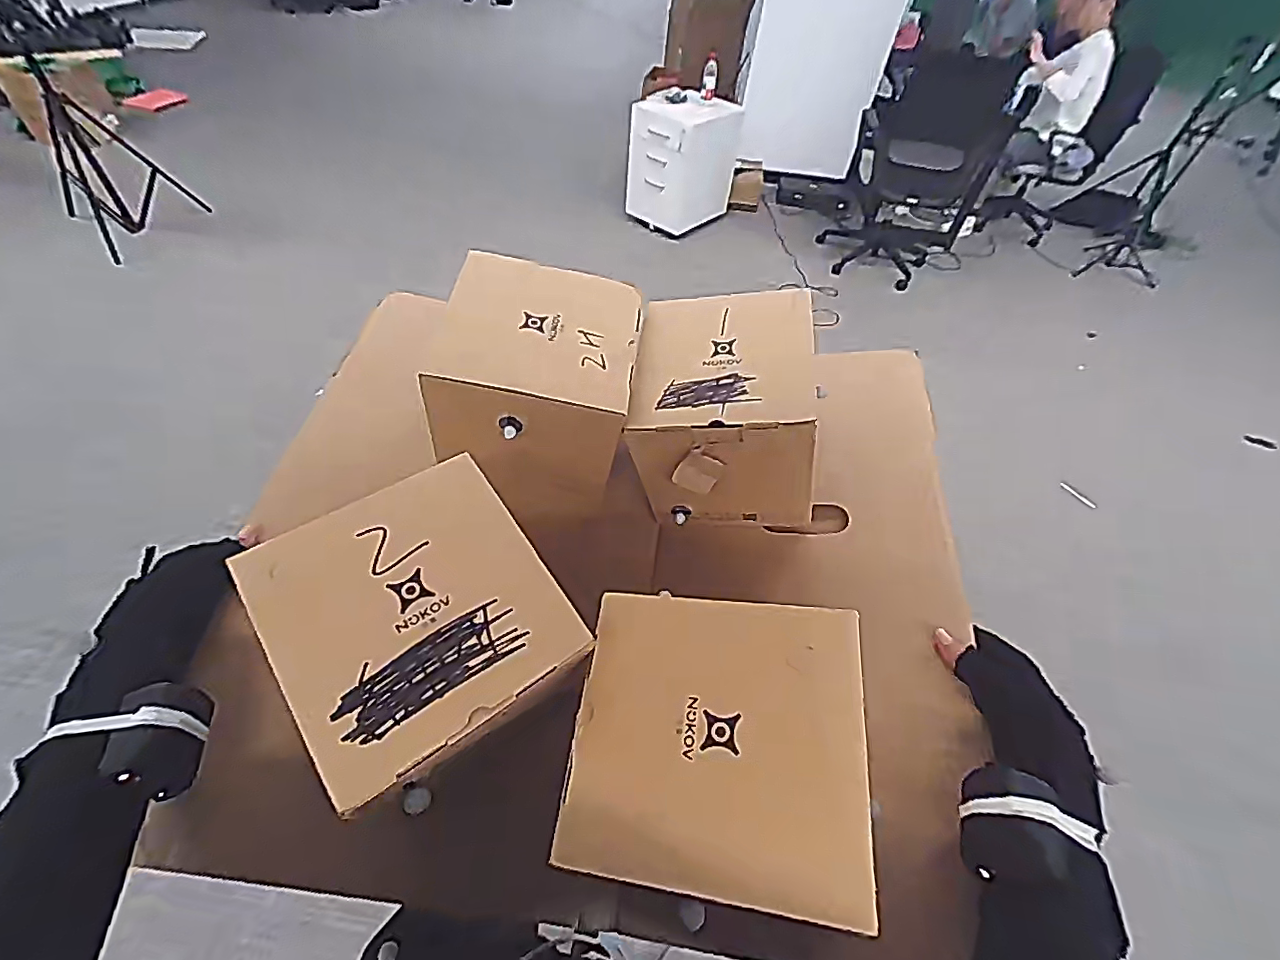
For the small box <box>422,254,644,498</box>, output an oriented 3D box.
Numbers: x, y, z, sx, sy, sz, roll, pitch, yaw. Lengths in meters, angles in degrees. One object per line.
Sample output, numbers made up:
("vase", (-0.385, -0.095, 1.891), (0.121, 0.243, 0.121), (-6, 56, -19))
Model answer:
("small box", (-0.104, -0.099, 0.566), (0.179, 0.176, 0.168), (11, 58, -7))
